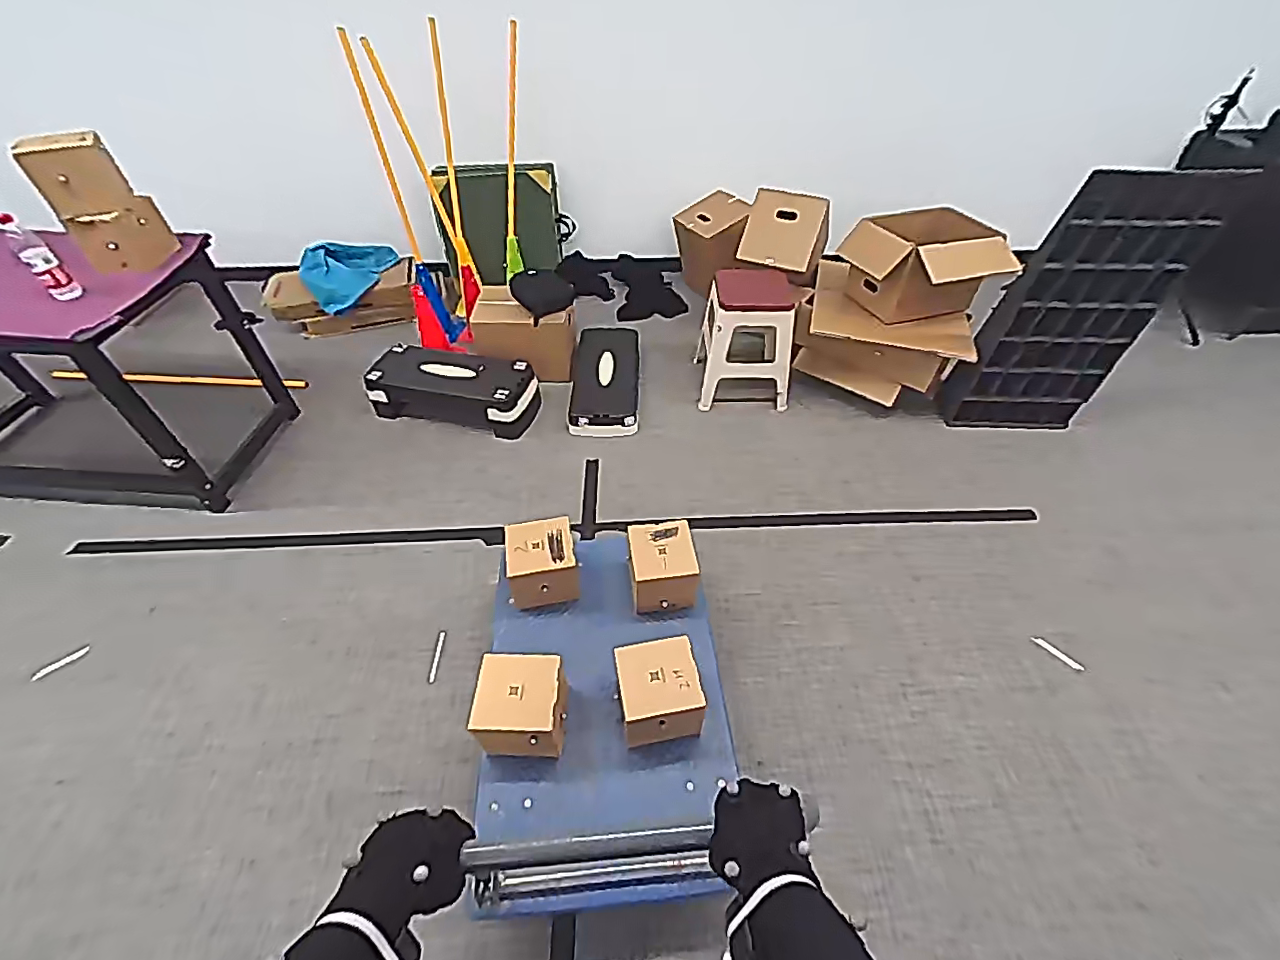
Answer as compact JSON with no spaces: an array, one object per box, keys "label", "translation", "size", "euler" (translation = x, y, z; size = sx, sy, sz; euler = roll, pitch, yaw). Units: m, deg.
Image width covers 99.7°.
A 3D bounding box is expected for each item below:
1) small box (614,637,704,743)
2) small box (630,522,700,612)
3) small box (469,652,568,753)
[{"label":"small box","translation":[0.040,0.485,1.241],"size":[0.179,0.176,0.168],"euler":[-8,48,-6]},{"label":"small box","translation":[0.060,0.237,1.471],"size":[0.168,0.176,0.179],"euler":[-5,48,-5]},{"label":"small box","translation":[-0.266,0.506,1.224],"size":[0.179,0.176,0.168],"euler":[2,47,0]}]
